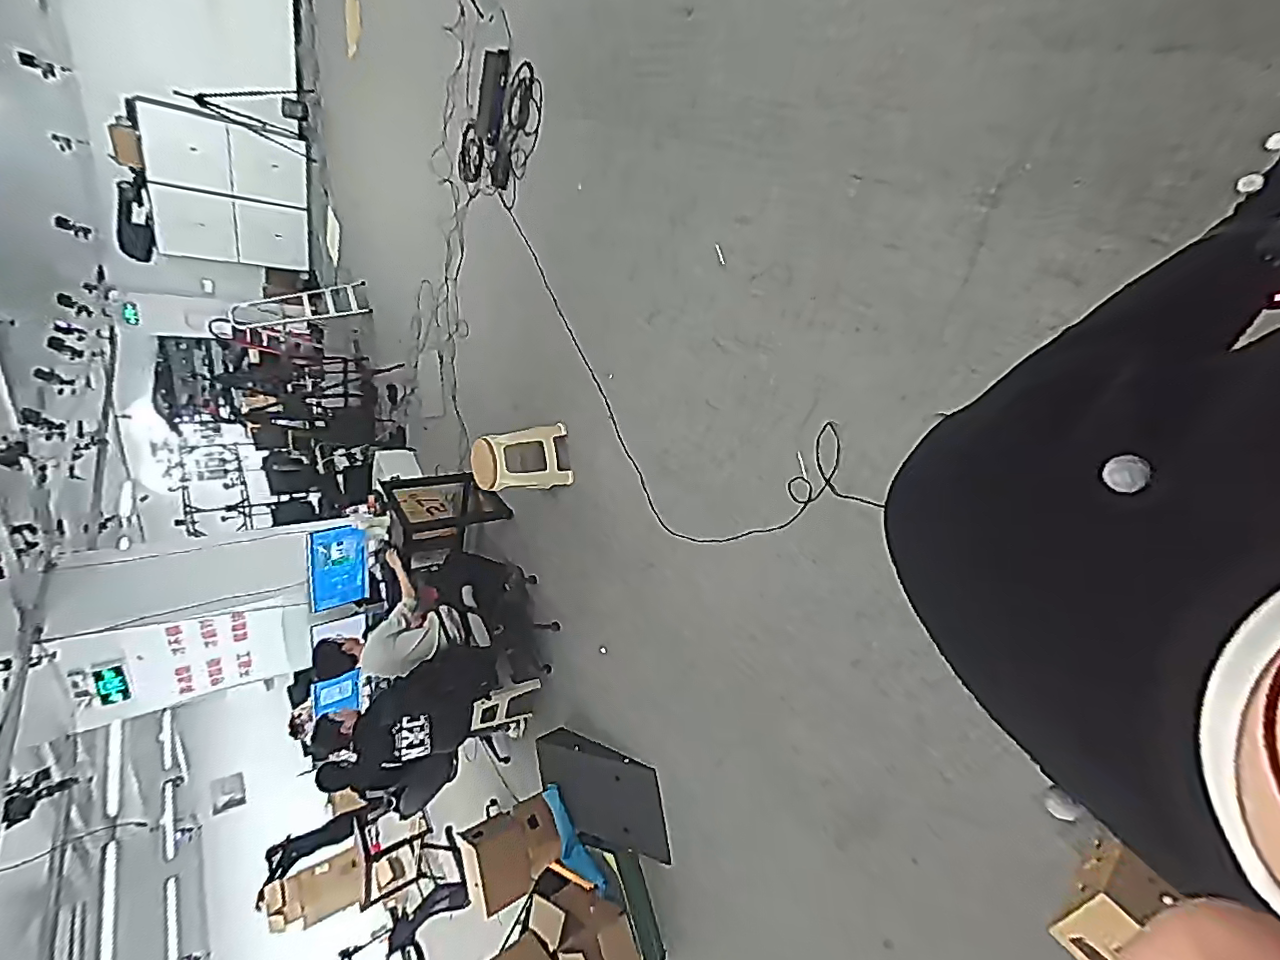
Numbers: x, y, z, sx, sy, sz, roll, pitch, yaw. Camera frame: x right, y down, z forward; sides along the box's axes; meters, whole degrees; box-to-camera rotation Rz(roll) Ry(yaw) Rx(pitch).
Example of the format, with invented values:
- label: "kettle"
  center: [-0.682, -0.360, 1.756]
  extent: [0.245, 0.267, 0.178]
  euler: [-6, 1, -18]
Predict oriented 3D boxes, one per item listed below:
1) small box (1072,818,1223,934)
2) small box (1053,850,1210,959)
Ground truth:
- label: "small box"
  center: [1.133, 0.899, 1.209]
  extent: [0.179, 0.176, 0.168]
  euler: [44, 129, 38]
- label: "small box"
  center: [1.005, 0.913, 1.104]
  extent: [0.168, 0.176, 0.179]
  euler: [42, 127, 38]
